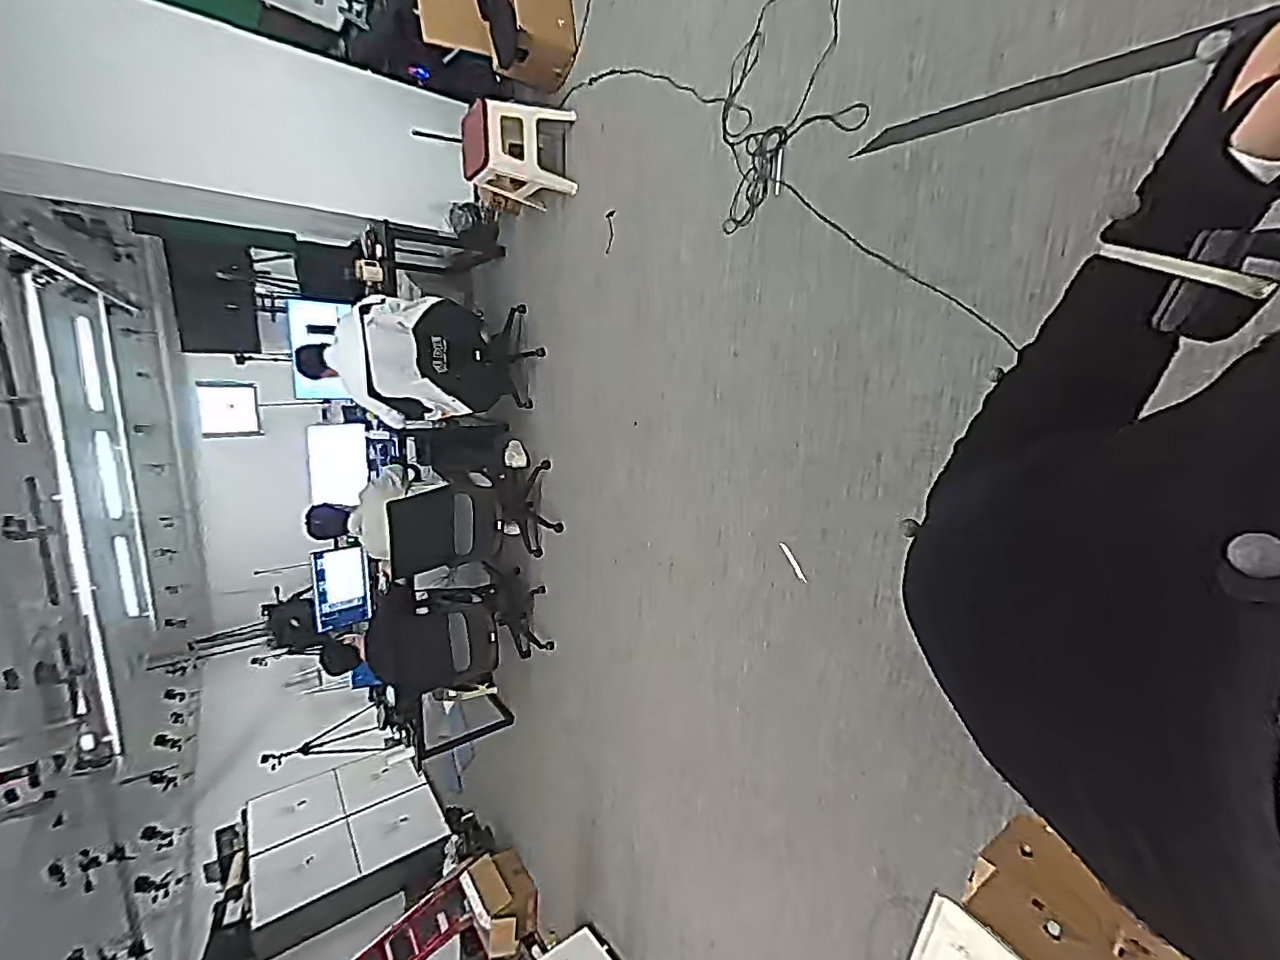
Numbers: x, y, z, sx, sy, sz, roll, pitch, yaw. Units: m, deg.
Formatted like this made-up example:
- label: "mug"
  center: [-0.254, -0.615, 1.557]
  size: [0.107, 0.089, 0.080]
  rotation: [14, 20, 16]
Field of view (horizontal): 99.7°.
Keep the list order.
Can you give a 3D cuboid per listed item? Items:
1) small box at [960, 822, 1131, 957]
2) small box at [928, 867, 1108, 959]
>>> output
- label: "small box"
  center: [0.671, 0.717, 0.908]
  size: [0.179, 0.176, 0.168]
  rotation: [22, 113, 51]
- label: "small box"
  center: [0.549, 0.735, 0.797]
  size: [0.168, 0.176, 0.179]
  rotation: [28, 117, 50]
